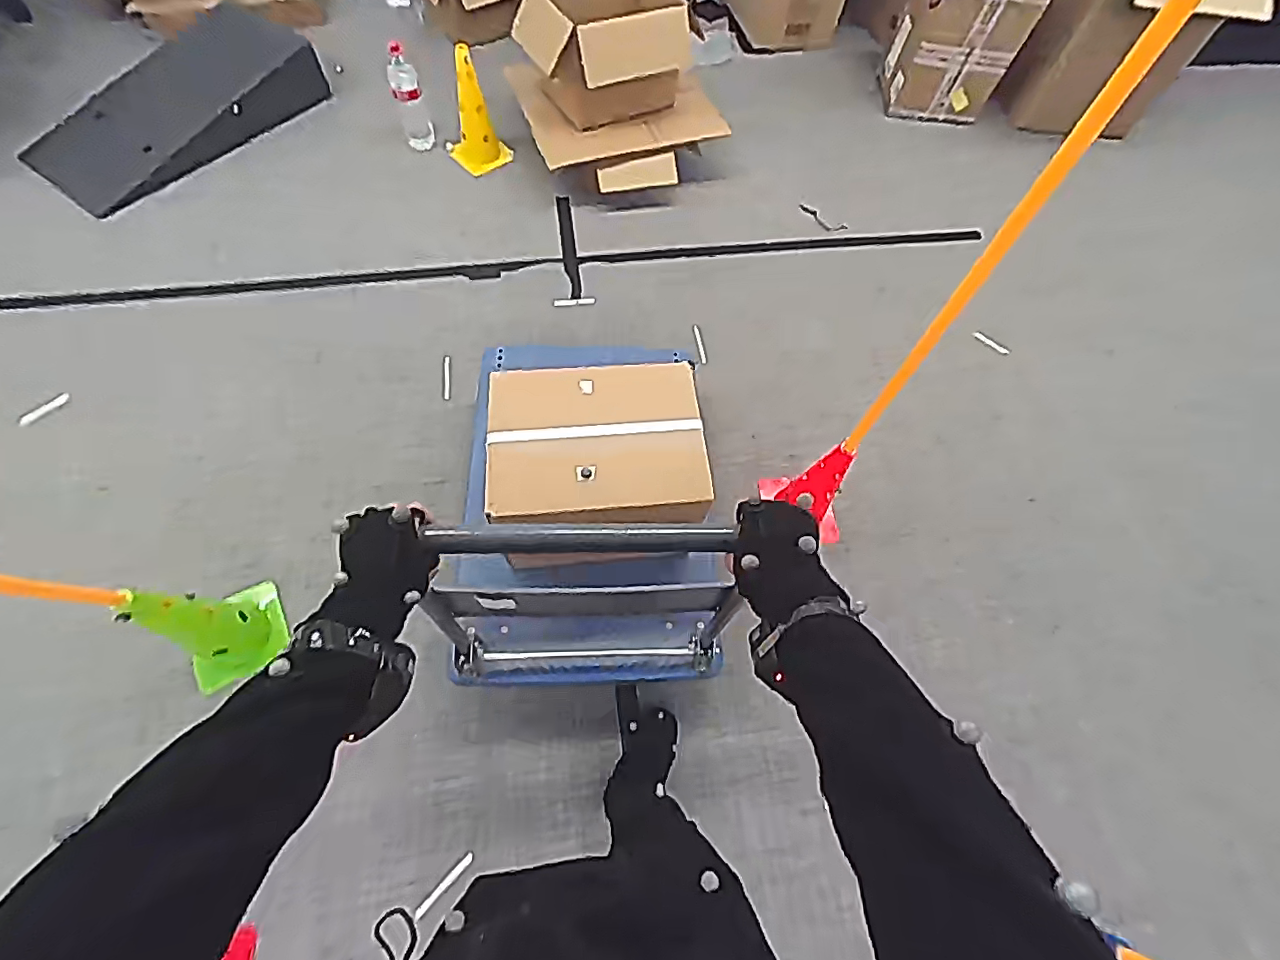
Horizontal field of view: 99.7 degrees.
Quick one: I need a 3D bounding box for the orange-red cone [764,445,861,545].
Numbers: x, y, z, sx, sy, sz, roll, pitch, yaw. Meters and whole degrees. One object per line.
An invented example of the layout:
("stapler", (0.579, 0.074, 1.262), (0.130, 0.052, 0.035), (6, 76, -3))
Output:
("orange-red cone", (0.463, 0.013, 1.359), (0.199, 0.360, 0.198), (-1, 64, -6))
